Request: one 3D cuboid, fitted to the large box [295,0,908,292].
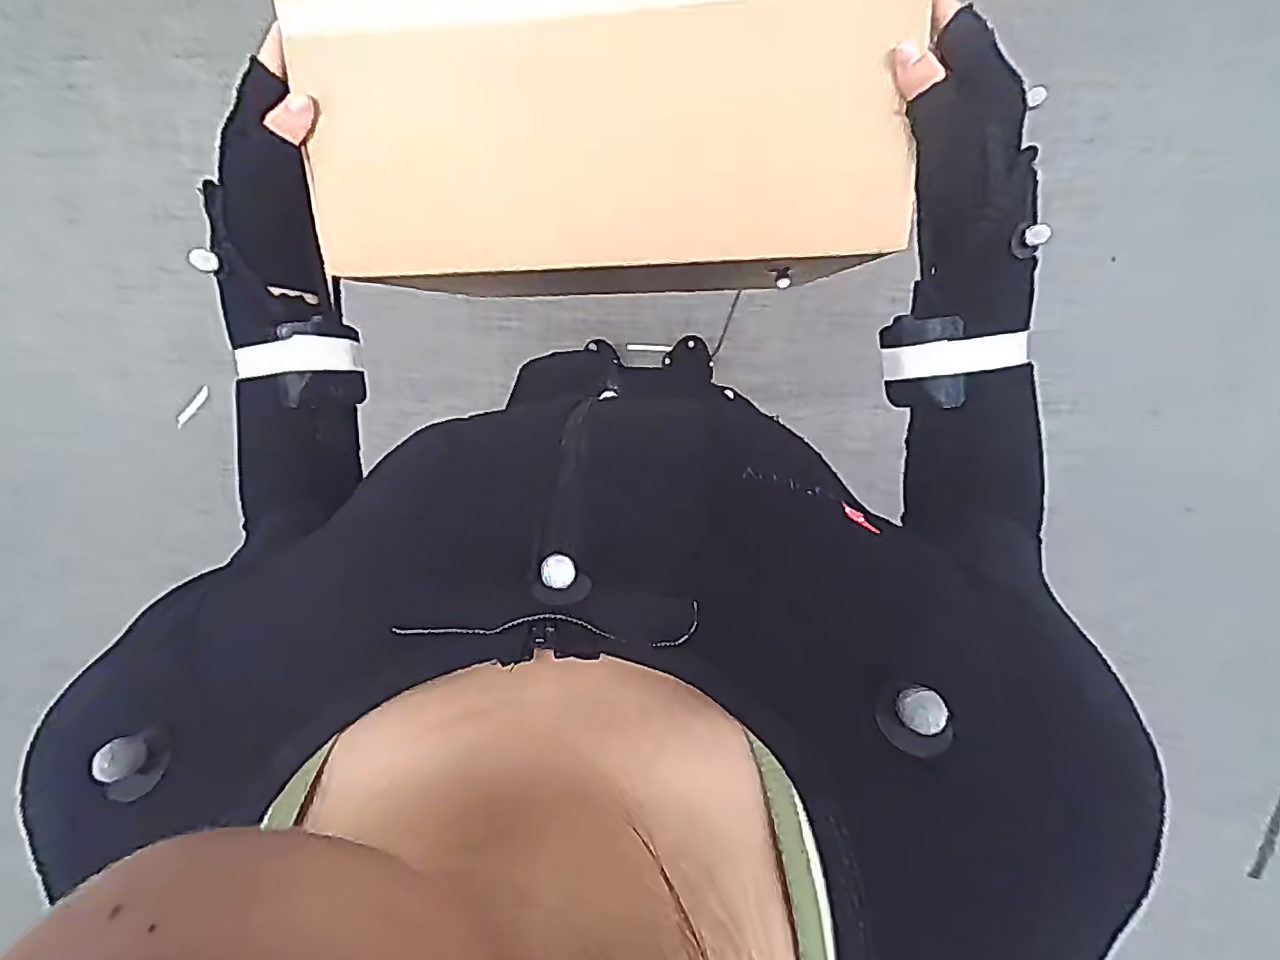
[{"bbox_3d":[-0.018,-0.347,0.489,0.408,0.320,0.320,-1,105,4],"label":"large box"}]
